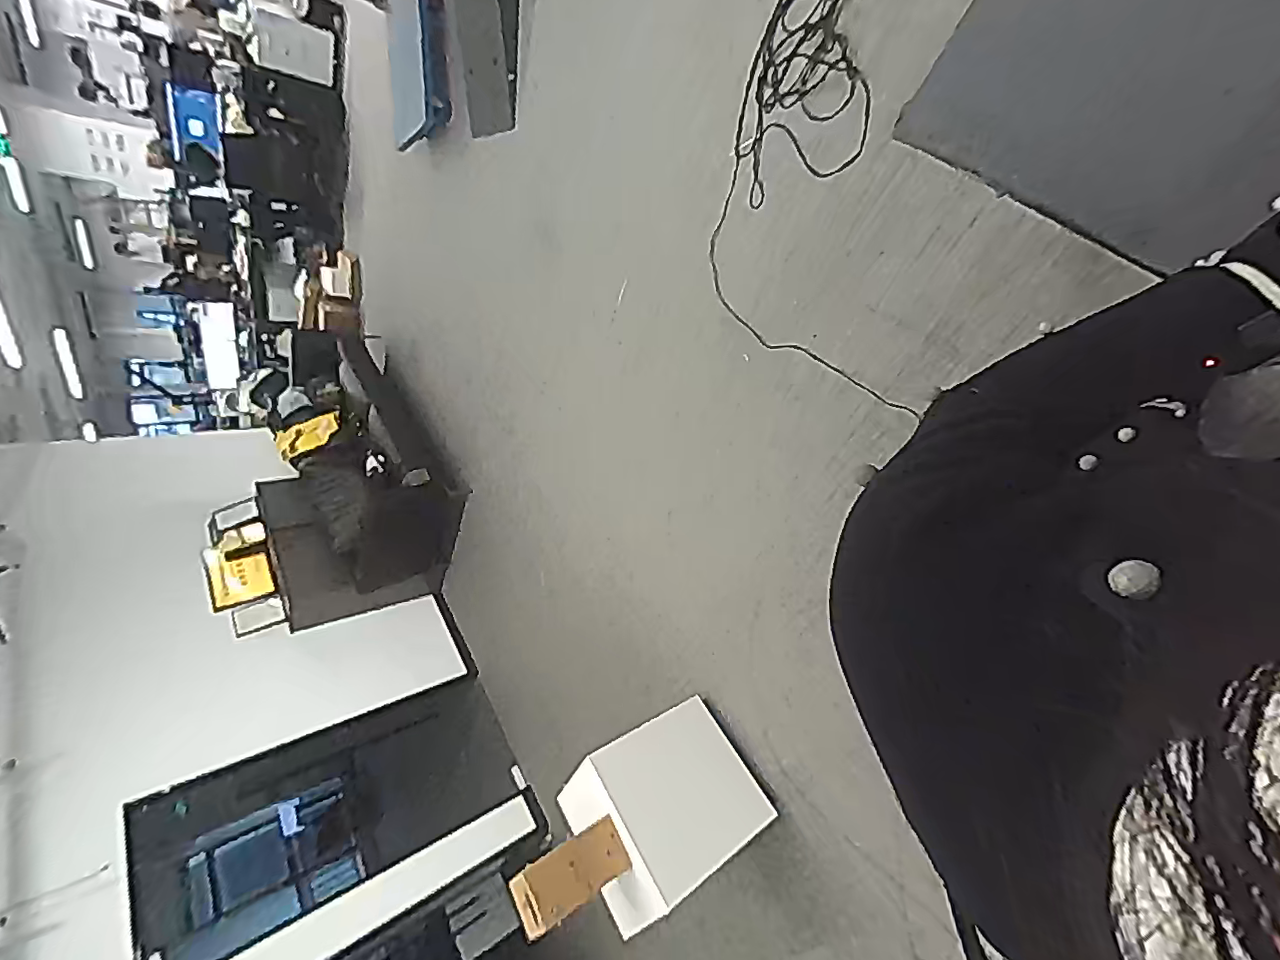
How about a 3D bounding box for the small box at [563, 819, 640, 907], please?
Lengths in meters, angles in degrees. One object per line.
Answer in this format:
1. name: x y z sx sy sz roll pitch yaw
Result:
1. small box: -0.125 1.256 1.778 0.168 0.176 0.179 56 136 26
